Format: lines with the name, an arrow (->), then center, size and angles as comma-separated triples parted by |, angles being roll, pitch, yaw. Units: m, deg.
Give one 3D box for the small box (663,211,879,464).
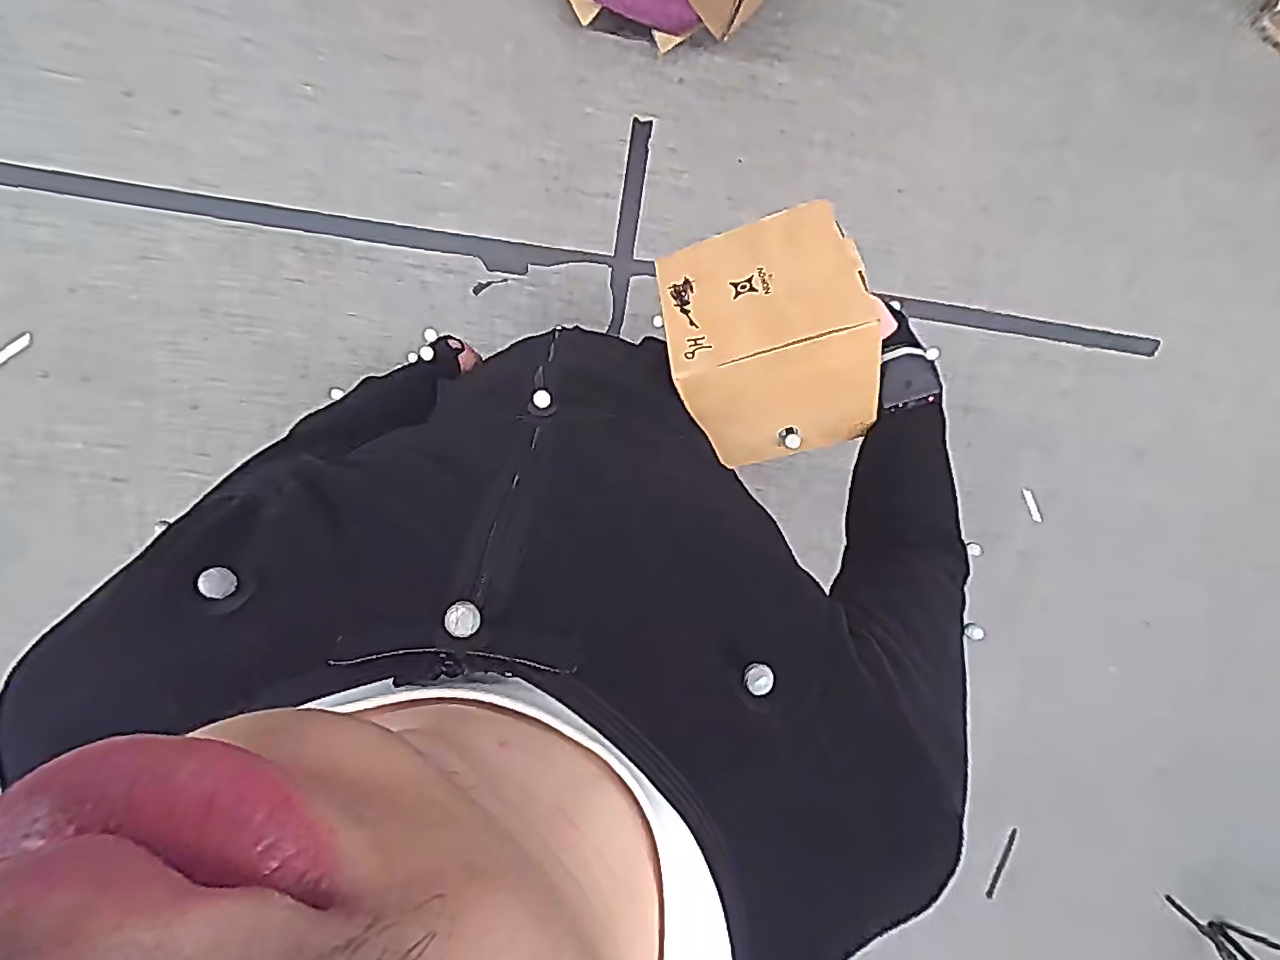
small box -> 0.136, -0.139, 0.575 | 0.179, 0.168, 0.176 | -14, 147, 13
